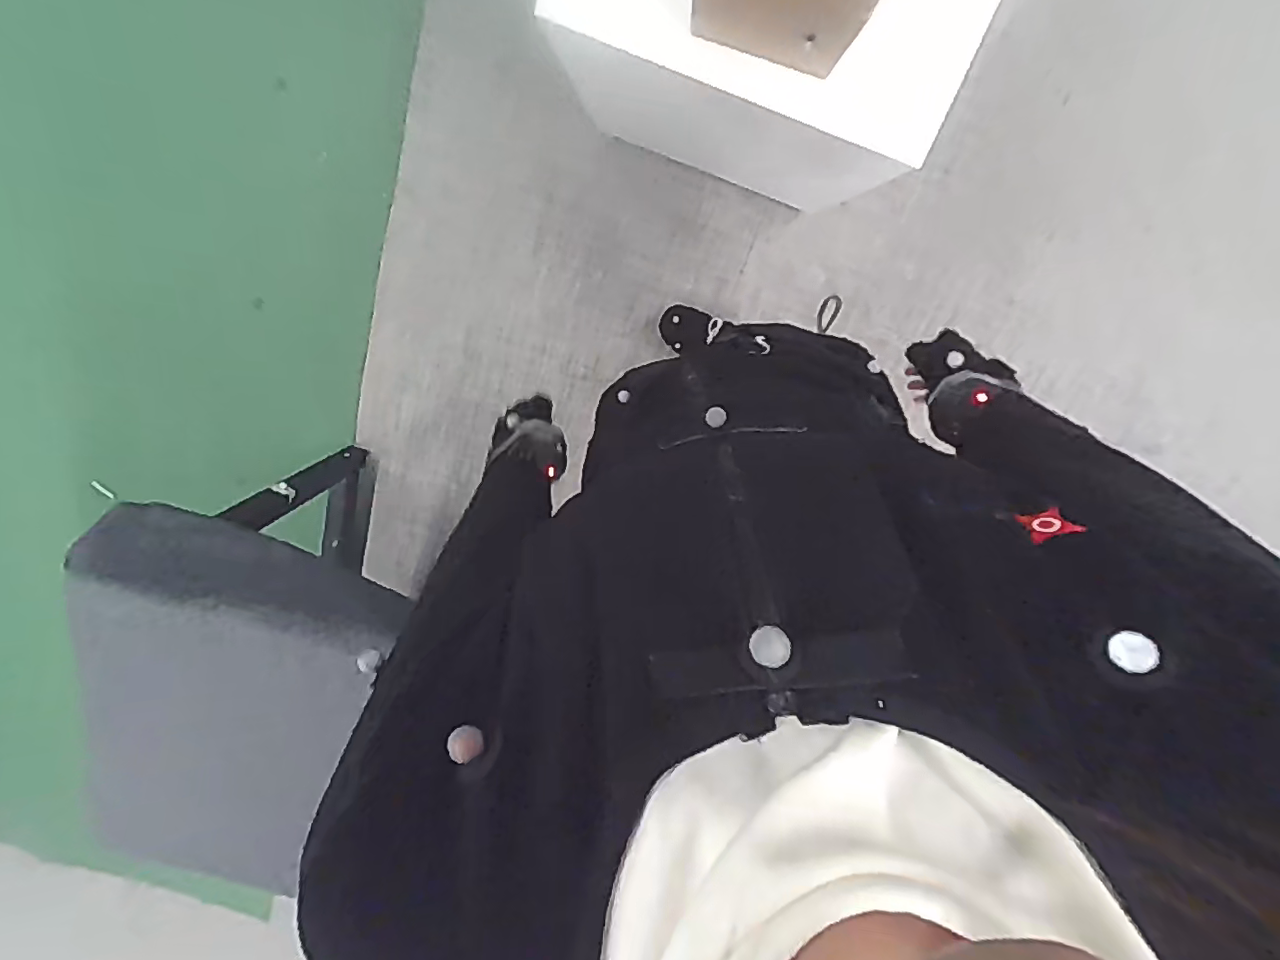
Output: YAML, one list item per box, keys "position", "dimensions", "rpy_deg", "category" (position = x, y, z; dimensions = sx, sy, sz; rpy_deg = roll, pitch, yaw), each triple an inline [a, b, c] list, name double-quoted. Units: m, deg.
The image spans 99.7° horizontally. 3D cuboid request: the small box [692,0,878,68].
- position: [0.158, -0.547, 0.535]
  dimensions: [0.179, 0.176, 0.168]
  rpy_deg: [17, 110, 0]
  category: "small box"
